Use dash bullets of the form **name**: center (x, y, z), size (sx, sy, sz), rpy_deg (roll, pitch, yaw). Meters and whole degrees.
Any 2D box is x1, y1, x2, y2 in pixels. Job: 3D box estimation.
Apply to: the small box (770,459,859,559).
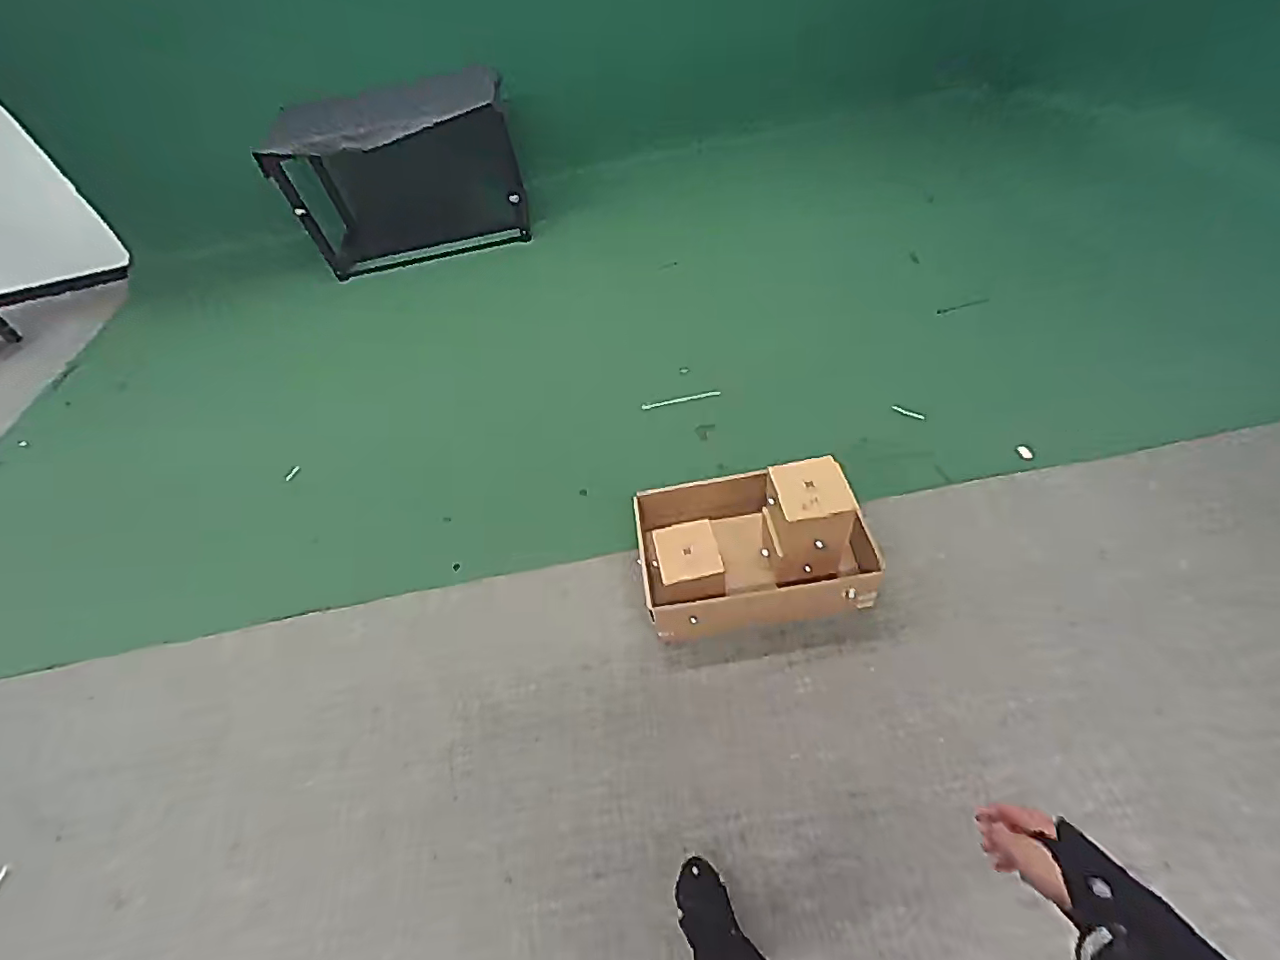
- **small box**: center (0.431, 0.075, 1.366), size (0.168, 0.176, 0.179), rpy_deg (-11, 50, 3)
